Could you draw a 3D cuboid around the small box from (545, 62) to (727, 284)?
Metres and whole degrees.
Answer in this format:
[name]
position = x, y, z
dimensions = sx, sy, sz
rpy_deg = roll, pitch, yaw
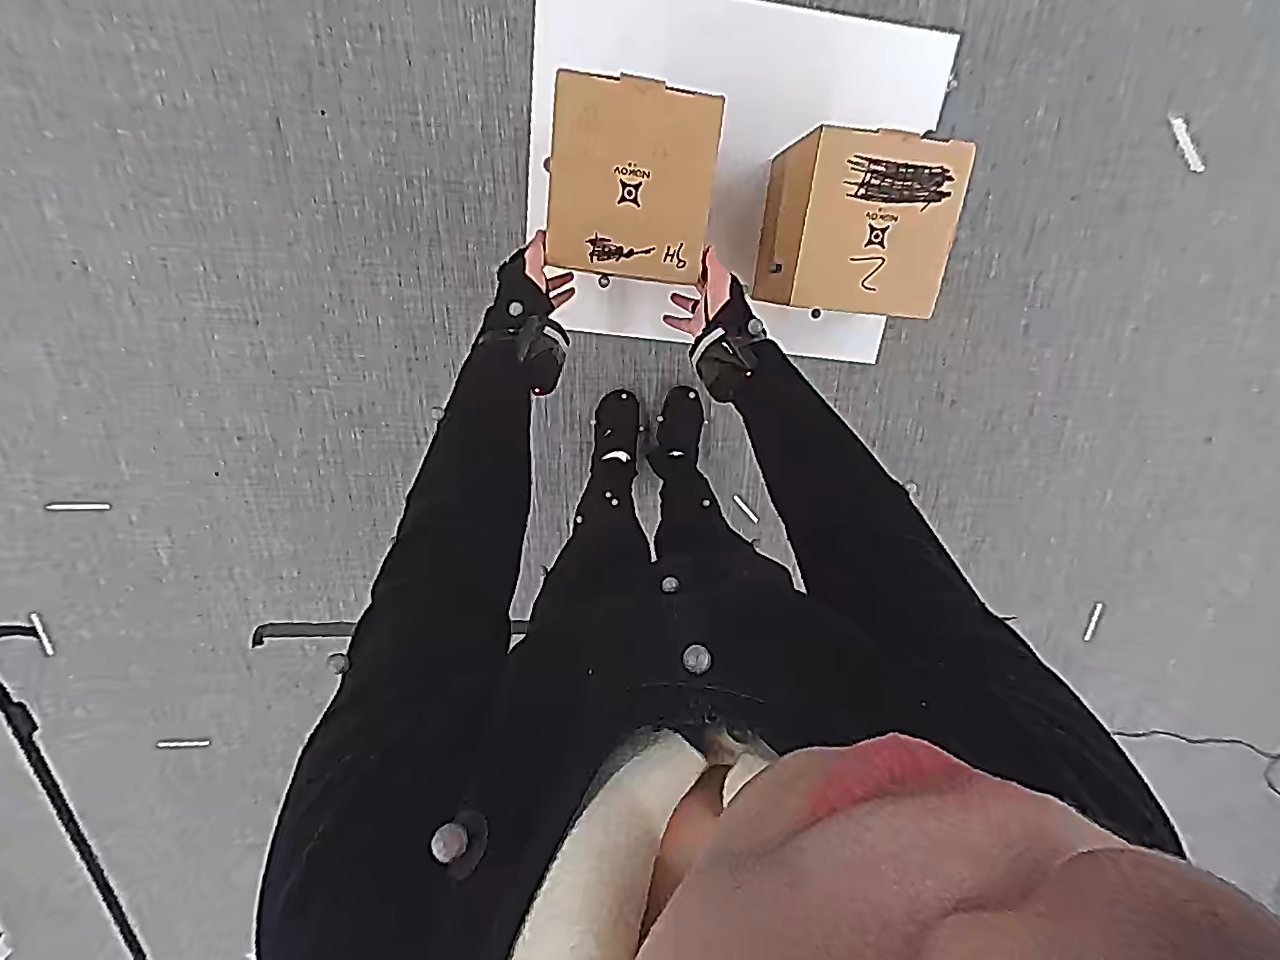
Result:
[small box]
position = -0.013, -0.326, 0.614
dimensions = 0.168, 0.176, 0.179
rpy_deg = 6, 109, -6
